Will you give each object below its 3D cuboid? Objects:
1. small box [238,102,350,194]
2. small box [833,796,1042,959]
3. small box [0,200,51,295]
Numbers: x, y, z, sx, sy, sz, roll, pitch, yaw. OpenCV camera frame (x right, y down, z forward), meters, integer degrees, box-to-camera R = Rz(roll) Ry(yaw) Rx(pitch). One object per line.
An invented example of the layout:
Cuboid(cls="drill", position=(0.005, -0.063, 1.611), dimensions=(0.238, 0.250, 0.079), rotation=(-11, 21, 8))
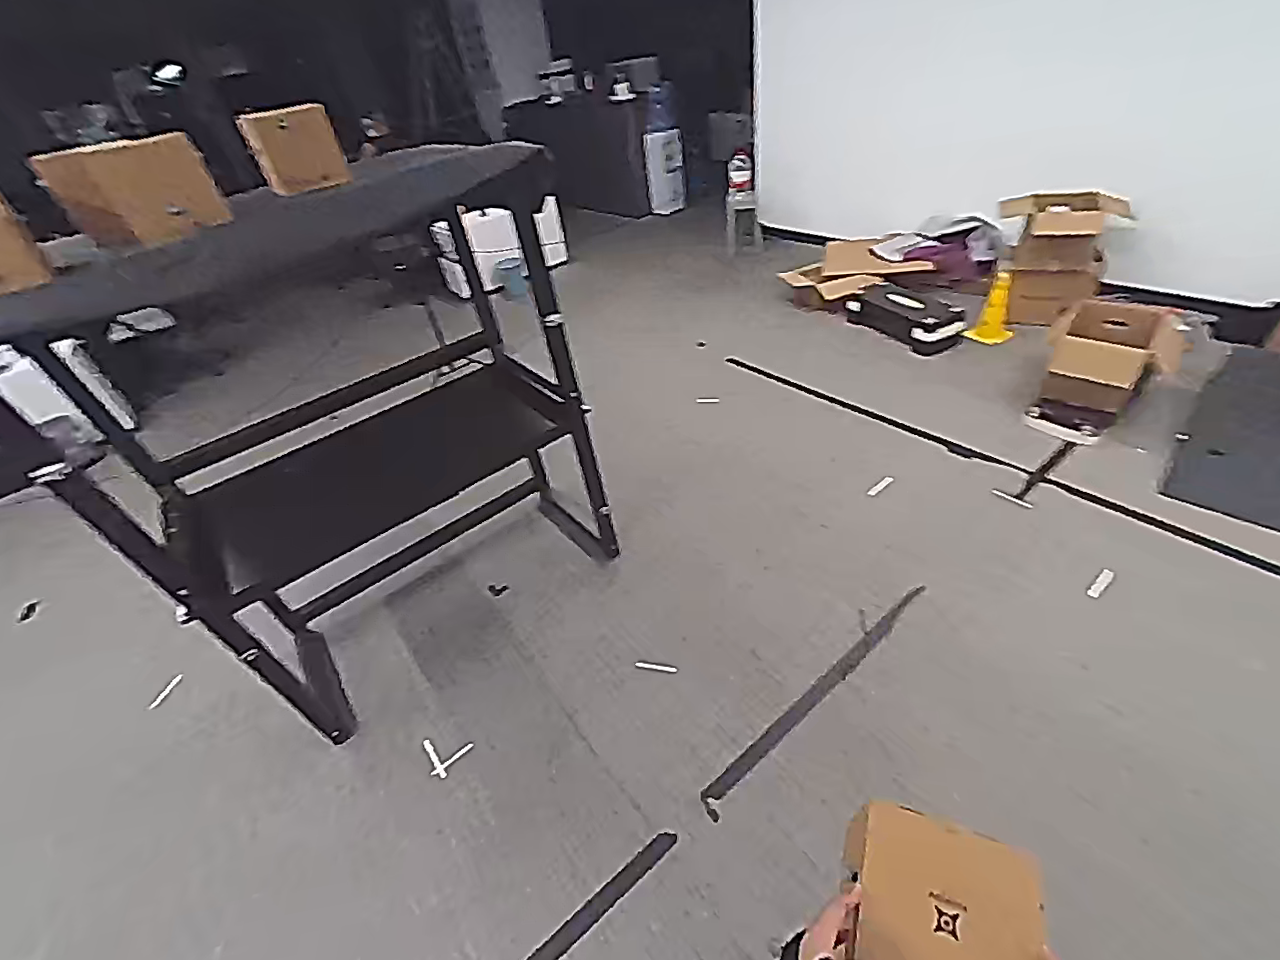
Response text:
Cuboid(cls="small box", position=(-0.863, -0.829, 1.355), dimensions=(0.168, 0.176, 0.179), rotation=(-33, 44, -24))
Cuboid(cls="small box", position=(0.314, 0.486, 0.595), dimensions=(0.168, 0.176, 0.179), rotation=(10, 51, 18))
Cuboid(cls="small box", position=(-1.150, -0.401, 0.903), dimensions=(0.168, 0.176, 0.179), rotation=(-34, 45, -26))
